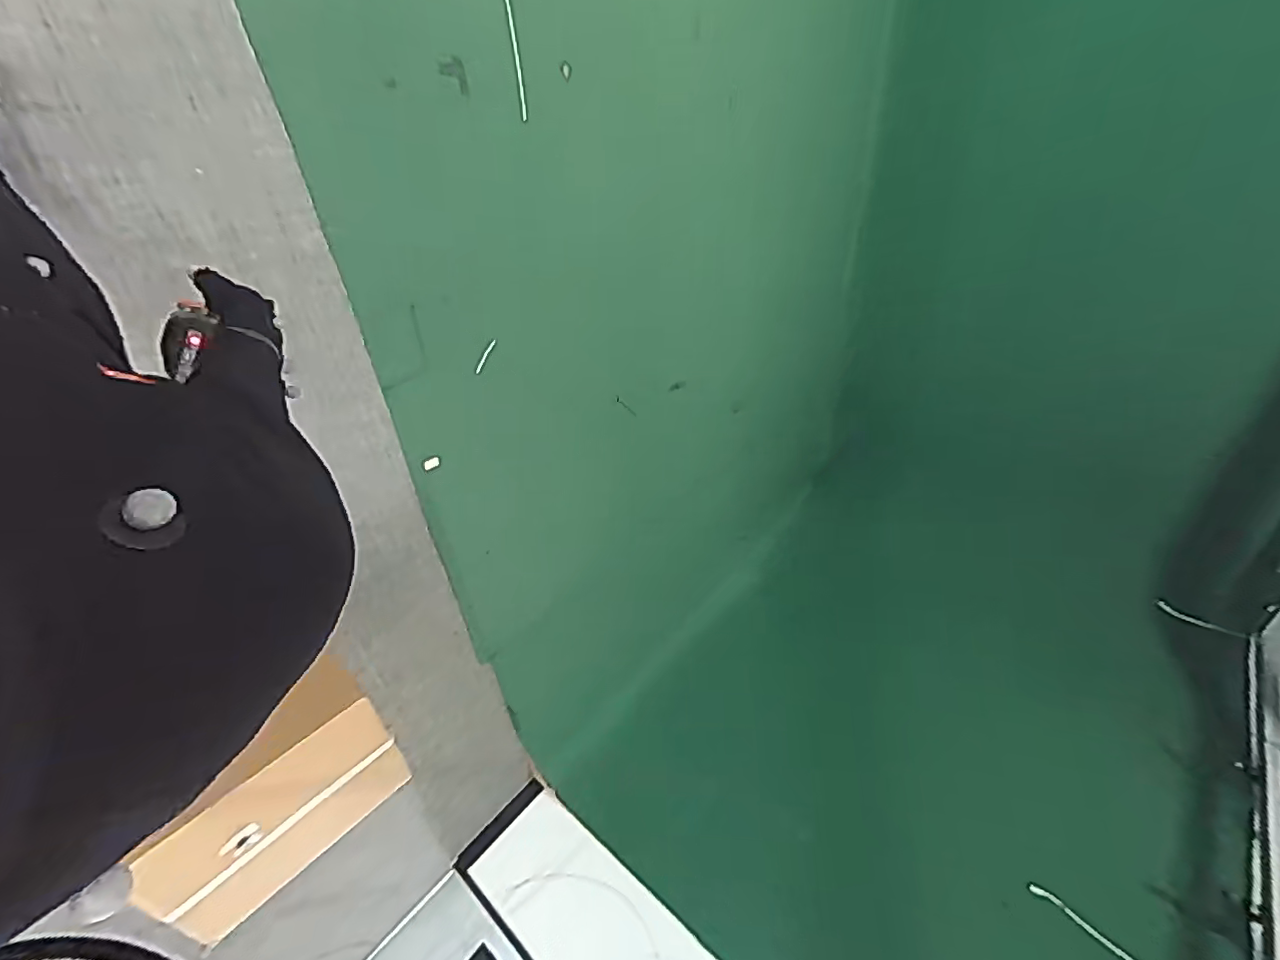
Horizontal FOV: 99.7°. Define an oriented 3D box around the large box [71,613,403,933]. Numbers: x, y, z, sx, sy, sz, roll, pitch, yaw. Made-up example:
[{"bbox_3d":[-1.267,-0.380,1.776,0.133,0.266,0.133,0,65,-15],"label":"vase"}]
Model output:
[{"bbox_3d":[-0.772,0.552,1.084,0.408,0.320,0.320,-34,137,-37],"label":"large box"}]
